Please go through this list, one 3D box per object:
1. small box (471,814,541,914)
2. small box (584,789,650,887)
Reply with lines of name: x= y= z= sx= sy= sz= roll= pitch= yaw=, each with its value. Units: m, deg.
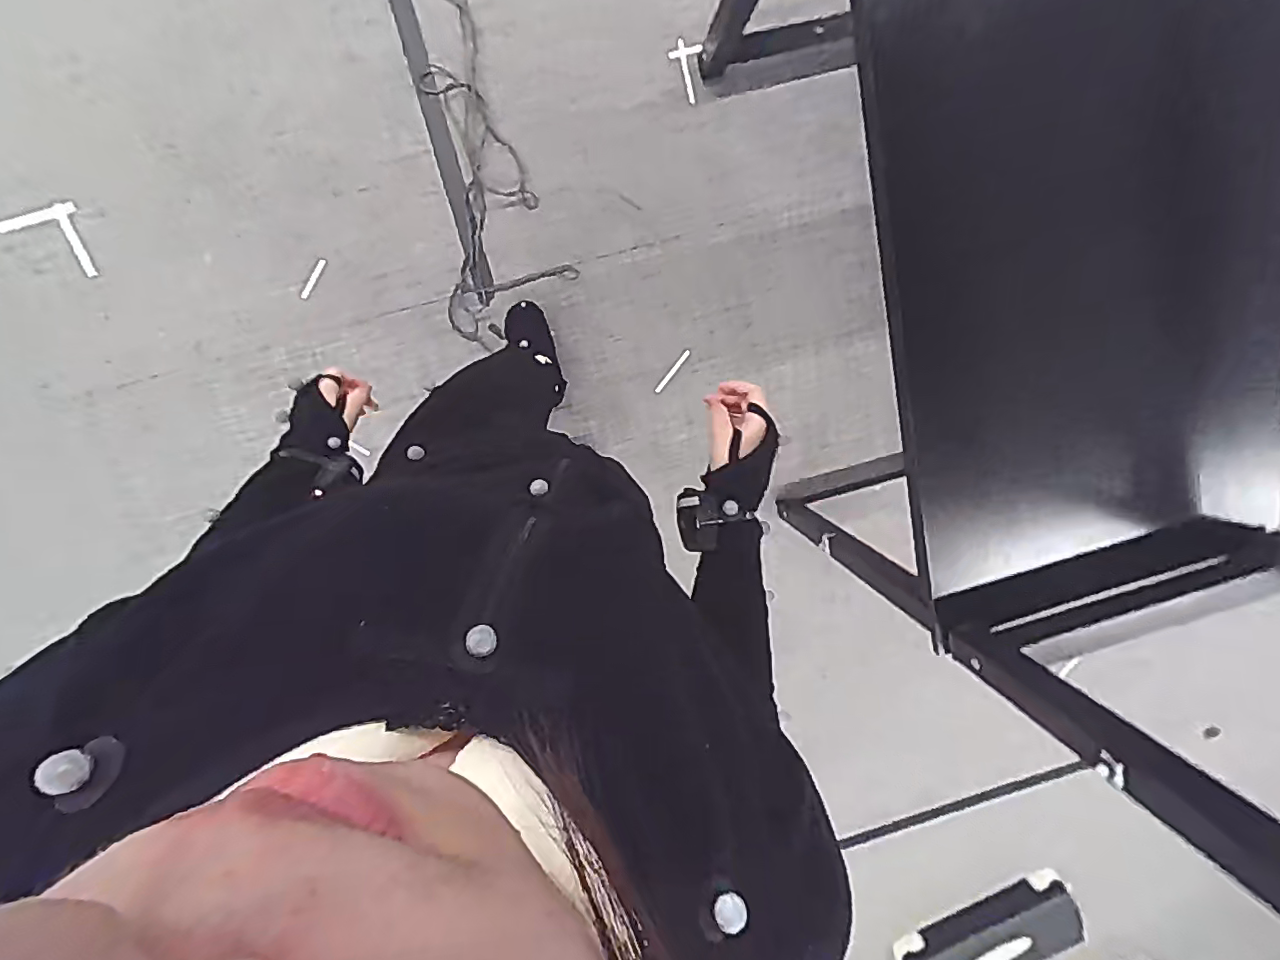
small box: x=-0.397 y=1.143 z=1.628 sx=0.168 sy=0.176 sz=0.179 roll=-9 pitch=105 yaw=-4
small box: x=-0.071 y=1.085 z=1.650 sx=0.179 sy=0.176 sz=0.168 roll=-10 pitch=104 yaw=-3
